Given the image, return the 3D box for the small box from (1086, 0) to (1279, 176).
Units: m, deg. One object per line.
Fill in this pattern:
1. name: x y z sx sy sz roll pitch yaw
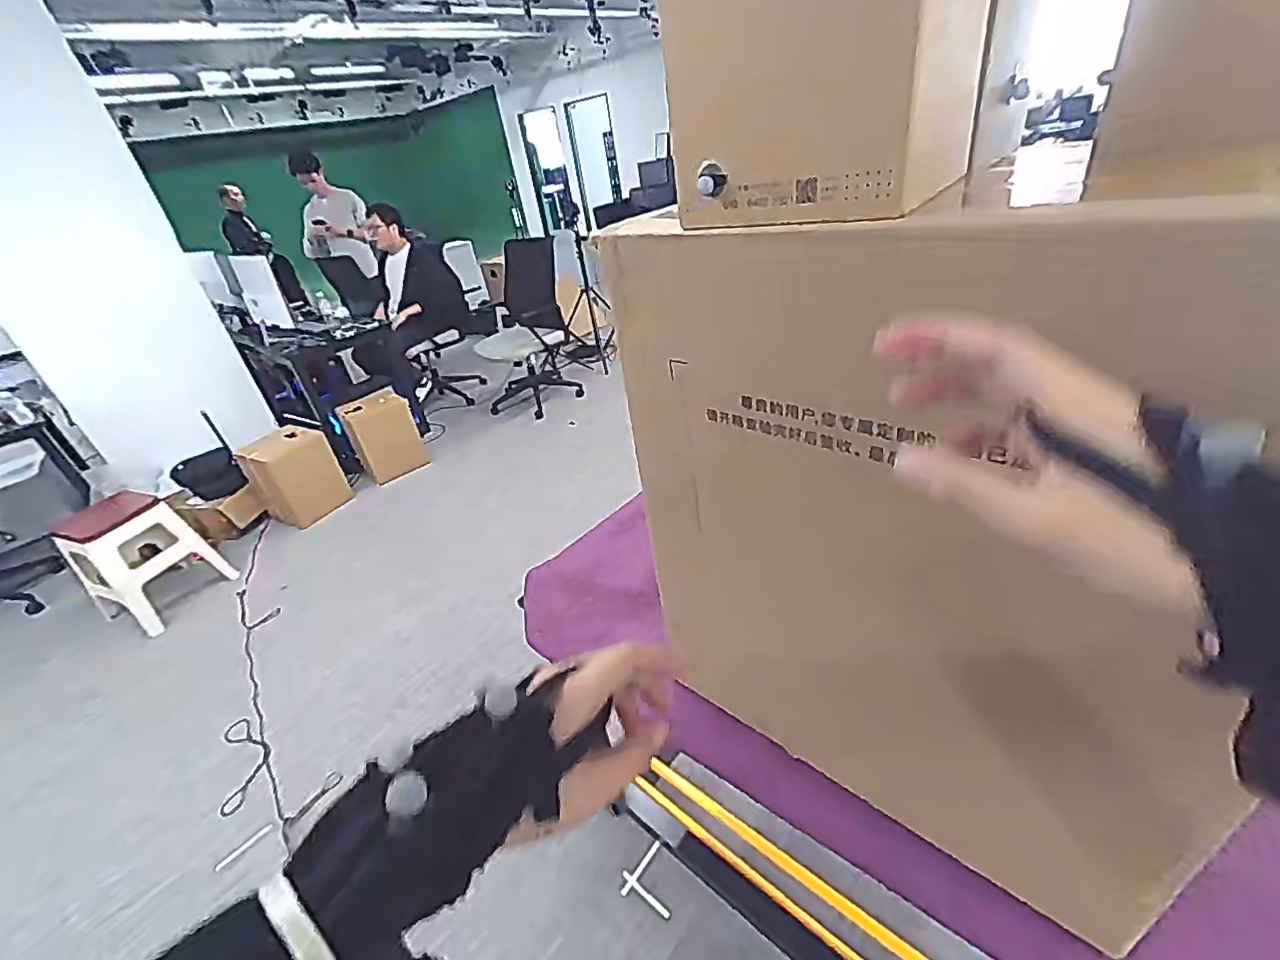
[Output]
1. small box: 0.439 -0.321 0.365 0.179 0.176 0.168 14 39 36
